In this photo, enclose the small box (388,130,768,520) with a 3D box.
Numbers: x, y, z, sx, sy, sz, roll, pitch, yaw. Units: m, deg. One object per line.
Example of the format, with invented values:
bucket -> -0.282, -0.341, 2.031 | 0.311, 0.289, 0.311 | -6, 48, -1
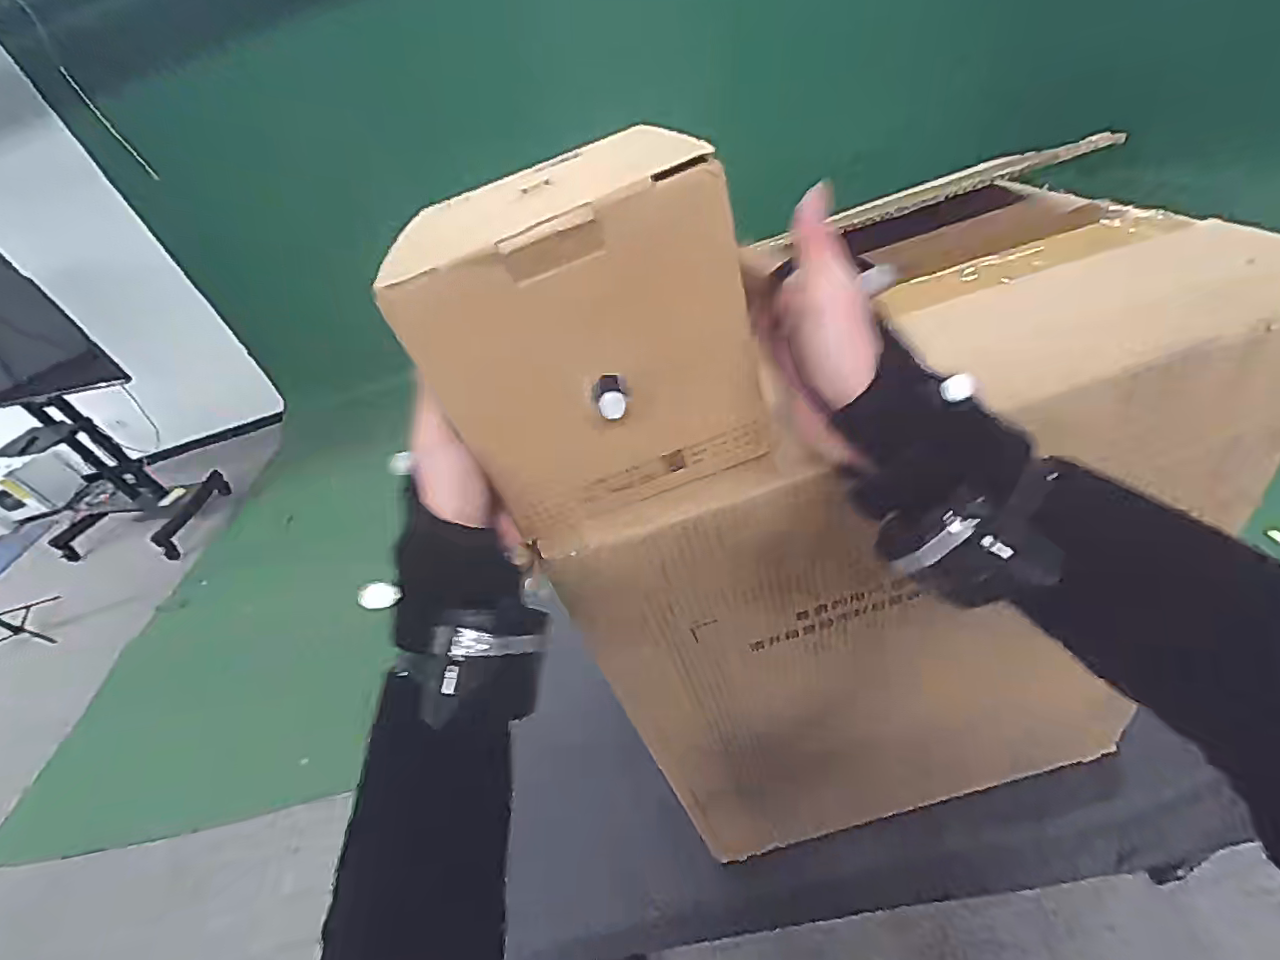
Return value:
small box -> -0.032, -0.096, 0.352 | 0.168, 0.176, 0.179 | -22, 39, 0
